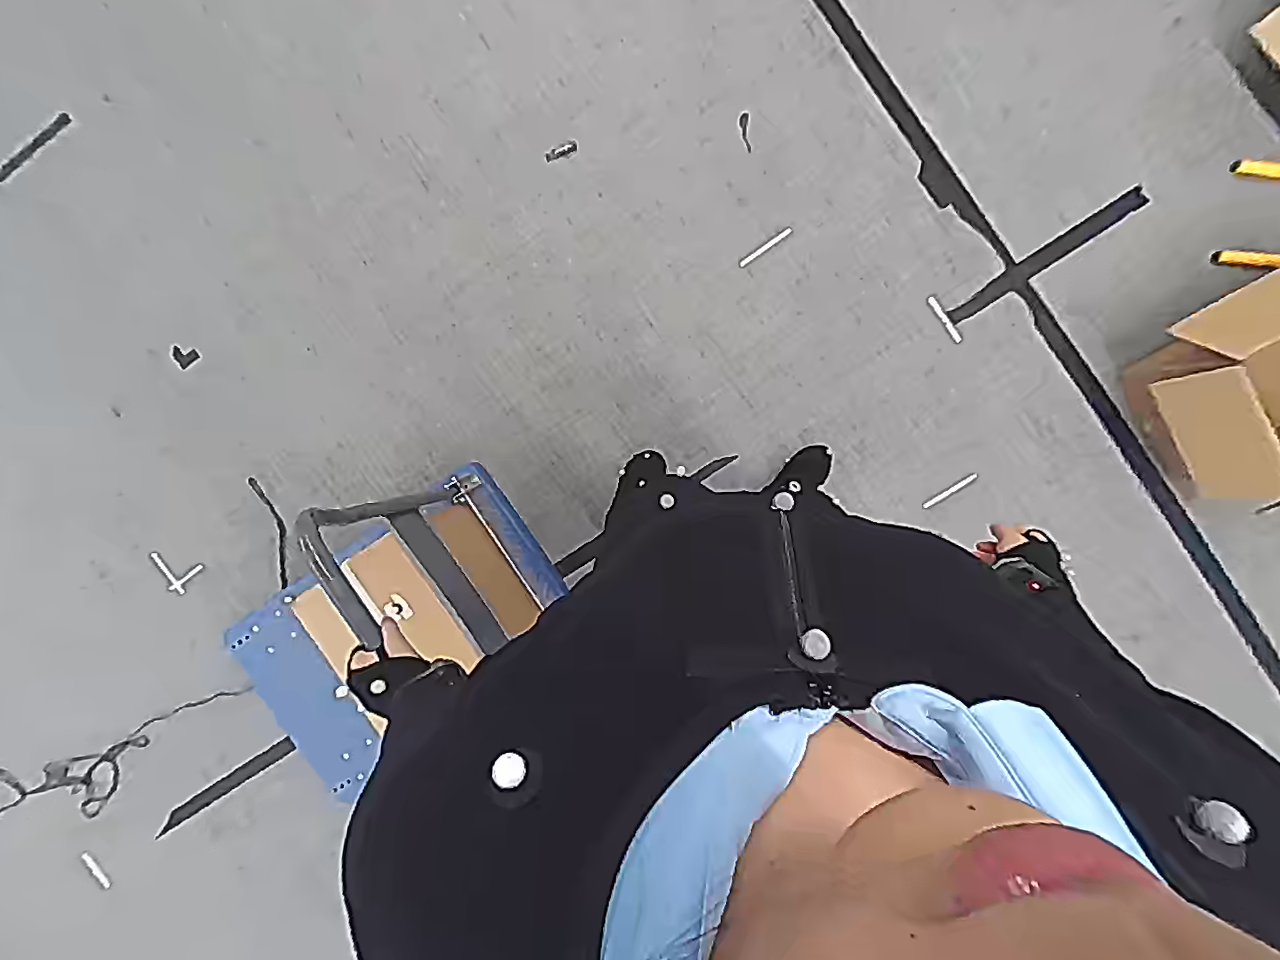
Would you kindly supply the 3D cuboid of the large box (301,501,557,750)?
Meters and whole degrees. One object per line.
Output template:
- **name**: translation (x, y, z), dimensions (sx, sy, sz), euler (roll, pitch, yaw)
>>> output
- **large box**: translation (-0.456, 0.311, 1.254), dimensions (0.320, 0.320, 0.408), euler (-34, 91, 7)
